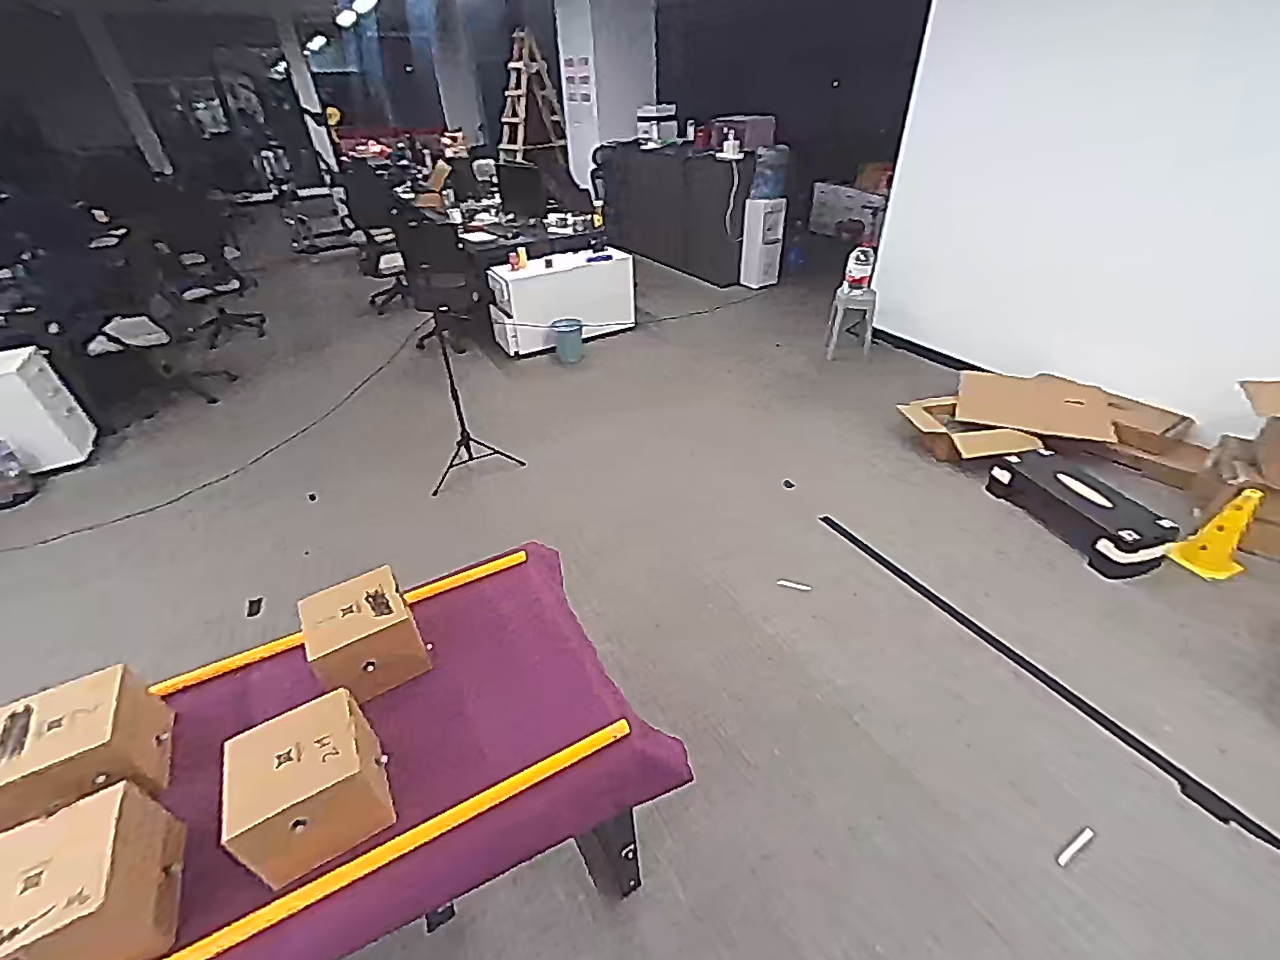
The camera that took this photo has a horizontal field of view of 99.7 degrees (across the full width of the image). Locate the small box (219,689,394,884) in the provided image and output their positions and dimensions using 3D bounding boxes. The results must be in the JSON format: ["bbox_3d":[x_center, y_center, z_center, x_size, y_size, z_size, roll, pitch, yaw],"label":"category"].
[{"bbox_3d":[-0.509,0.474,0.840,0.179,0.176,0.168,-21,39,-24],"label":"small box"}]

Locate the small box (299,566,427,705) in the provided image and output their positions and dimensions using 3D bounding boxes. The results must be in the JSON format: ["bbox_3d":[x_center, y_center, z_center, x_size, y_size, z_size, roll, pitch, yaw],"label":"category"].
[{"bbox_3d":[-0.538,0.309,1.067,0.179,0.176,0.168,-23,42,-24],"label":"small box"}]

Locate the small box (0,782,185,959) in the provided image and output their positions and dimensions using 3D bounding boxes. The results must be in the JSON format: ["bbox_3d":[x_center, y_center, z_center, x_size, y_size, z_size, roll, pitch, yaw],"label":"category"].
[{"bbox_3d":[-0.759,0.565,0.732,0.168,0.176,0.179,-21,40,-22],"label":"small box"}]
